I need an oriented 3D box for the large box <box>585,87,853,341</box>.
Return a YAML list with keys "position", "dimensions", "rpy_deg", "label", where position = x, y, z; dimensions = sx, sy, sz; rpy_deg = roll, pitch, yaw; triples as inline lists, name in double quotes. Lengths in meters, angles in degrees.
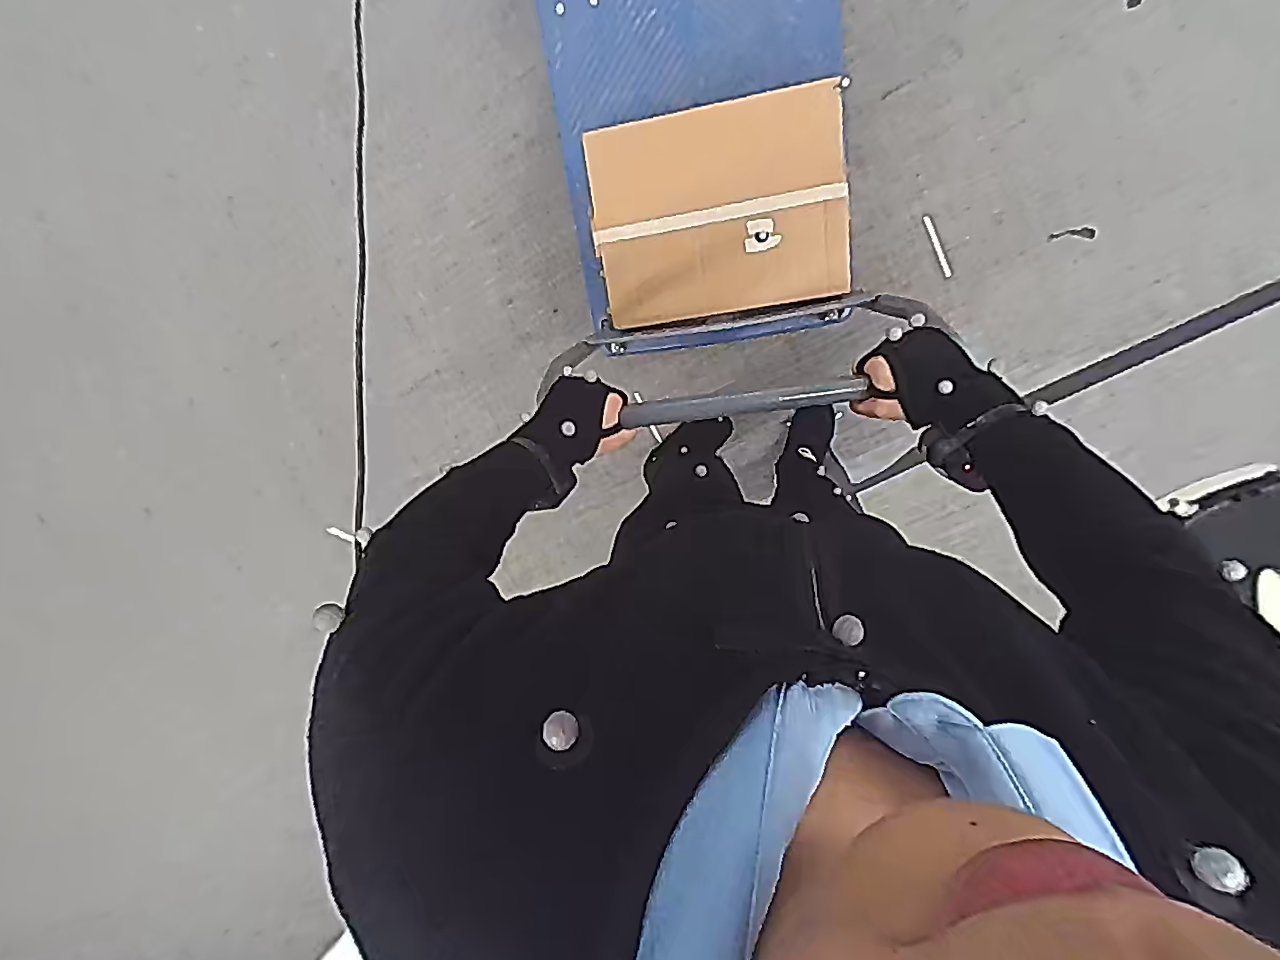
- position: [0.144, -0.456, 1.015]
  dimensions: [0.408, 0.320, 0.320]
  rpy_deg: [-7, 107, 9]
  label: "large box"
